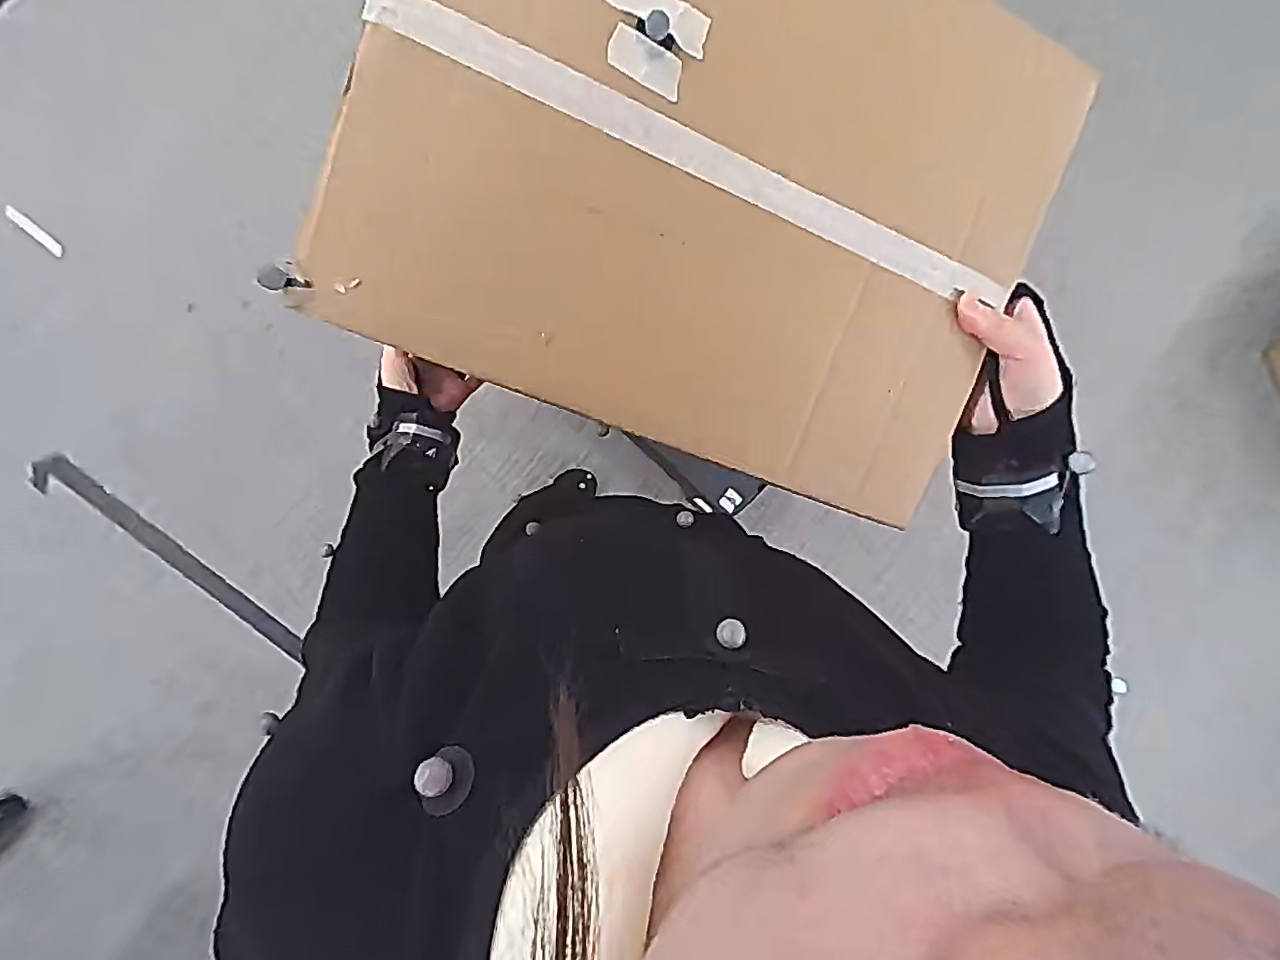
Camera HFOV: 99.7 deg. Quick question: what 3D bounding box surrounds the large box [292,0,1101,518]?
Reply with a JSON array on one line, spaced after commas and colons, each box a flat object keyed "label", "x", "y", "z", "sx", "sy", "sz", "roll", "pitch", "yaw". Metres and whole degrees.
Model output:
[{"label": "large box", "x": 0.027, "y": -0.197, "z": 0.450, "sx": 0.408, "sy": 0.320, "sz": 0.320, "roll": 18, "pitch": 96, "yaw": -12}]

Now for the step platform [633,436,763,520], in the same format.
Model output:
[{"label": "step platform", "x": 0.059, "y": -0.217, "z": 1.415, "sx": 0.286, "sy": 0.204, "sz": 0.684, "roll": -43, "pitch": 95, "yaw": -7}]
